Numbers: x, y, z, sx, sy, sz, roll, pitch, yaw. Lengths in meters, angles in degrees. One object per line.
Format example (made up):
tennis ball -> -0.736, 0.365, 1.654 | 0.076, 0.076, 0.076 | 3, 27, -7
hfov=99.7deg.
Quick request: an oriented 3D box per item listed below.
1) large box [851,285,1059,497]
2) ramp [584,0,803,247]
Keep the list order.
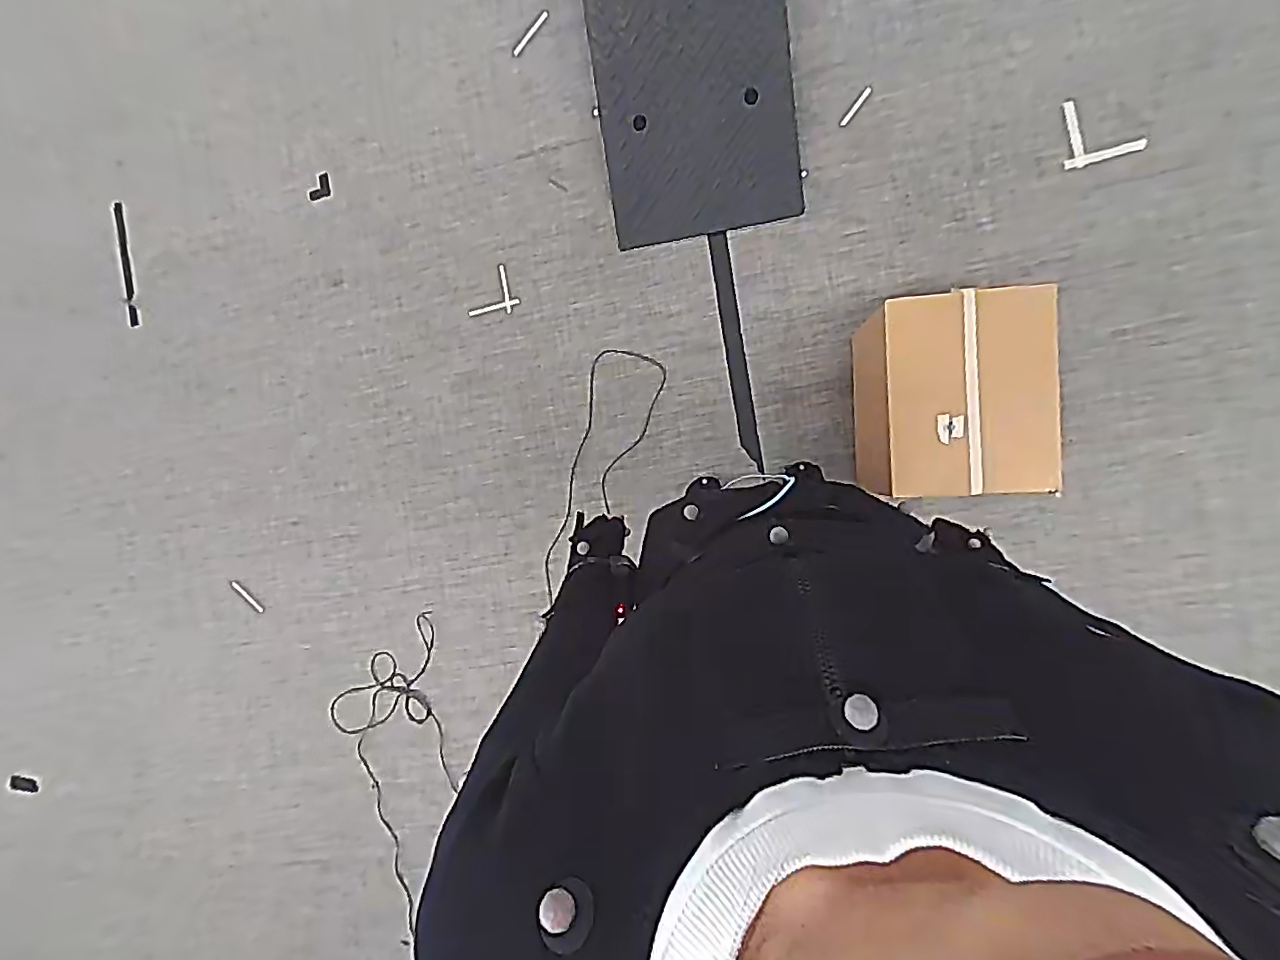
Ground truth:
large box -> 0.679, -0.179, 1.218 | 0.320, 0.320, 0.408 | -3, 92, 10
ramp -> 0.112, -1.147, 1.344 | 0.509, 0.206, 0.991 | -9, 91, 9
